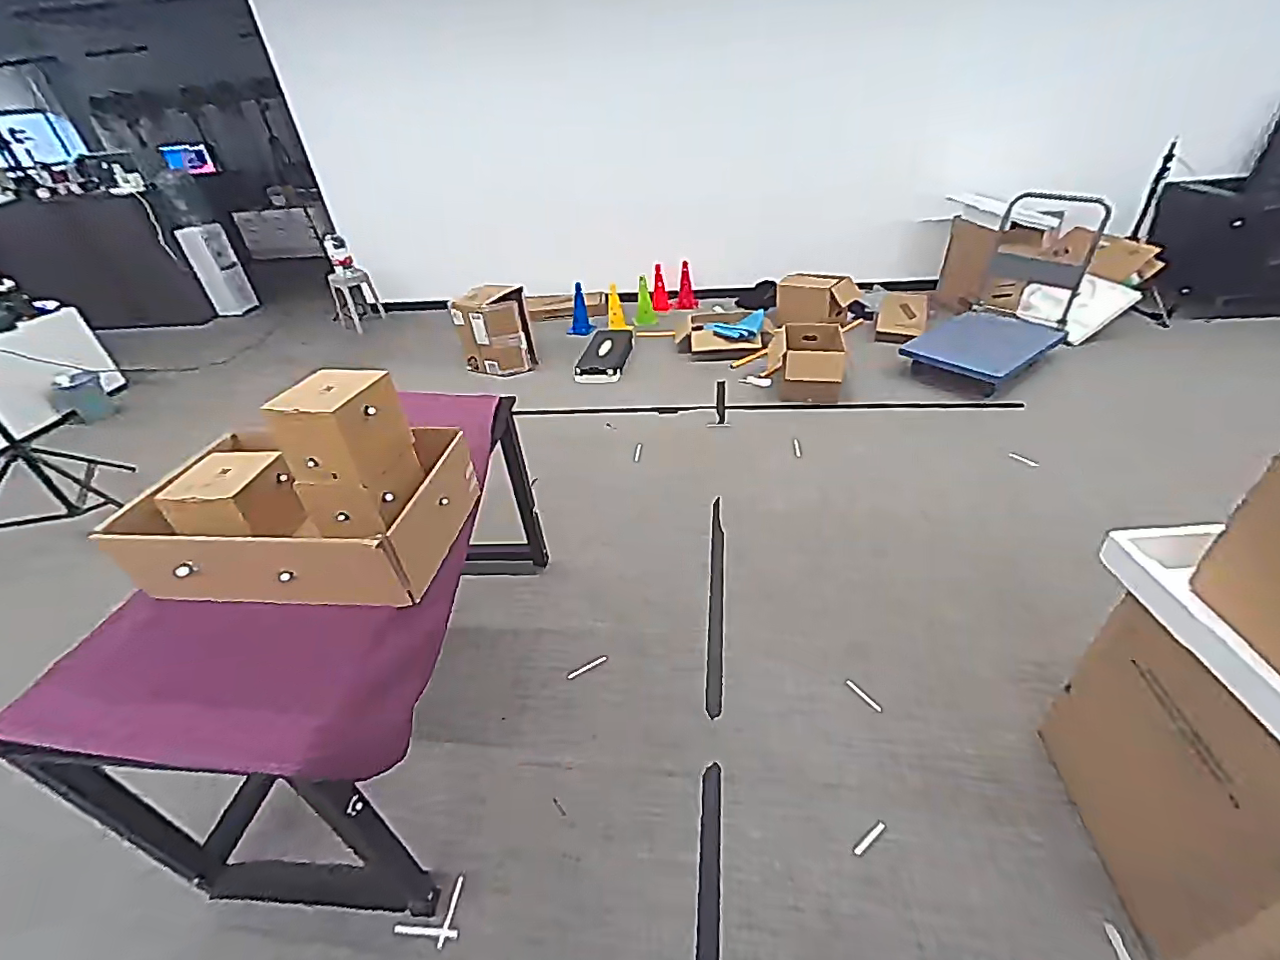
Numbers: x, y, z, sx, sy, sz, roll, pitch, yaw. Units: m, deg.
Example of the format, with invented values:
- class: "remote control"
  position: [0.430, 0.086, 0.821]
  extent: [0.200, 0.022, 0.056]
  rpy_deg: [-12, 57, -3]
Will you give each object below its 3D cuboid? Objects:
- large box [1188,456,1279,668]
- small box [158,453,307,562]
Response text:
- class: "large box"
  position: [1.213, 0.187, 0.818]
  extent: [0.320, 0.320, 0.408]
  rpy_deg: [-2, 34, 4]
- class: "small box"
  position: [-0.858, 0.057, 1.166]
  extent: [0.168, 0.176, 0.179]
  rpy_deg: [-1, 35, 4]
